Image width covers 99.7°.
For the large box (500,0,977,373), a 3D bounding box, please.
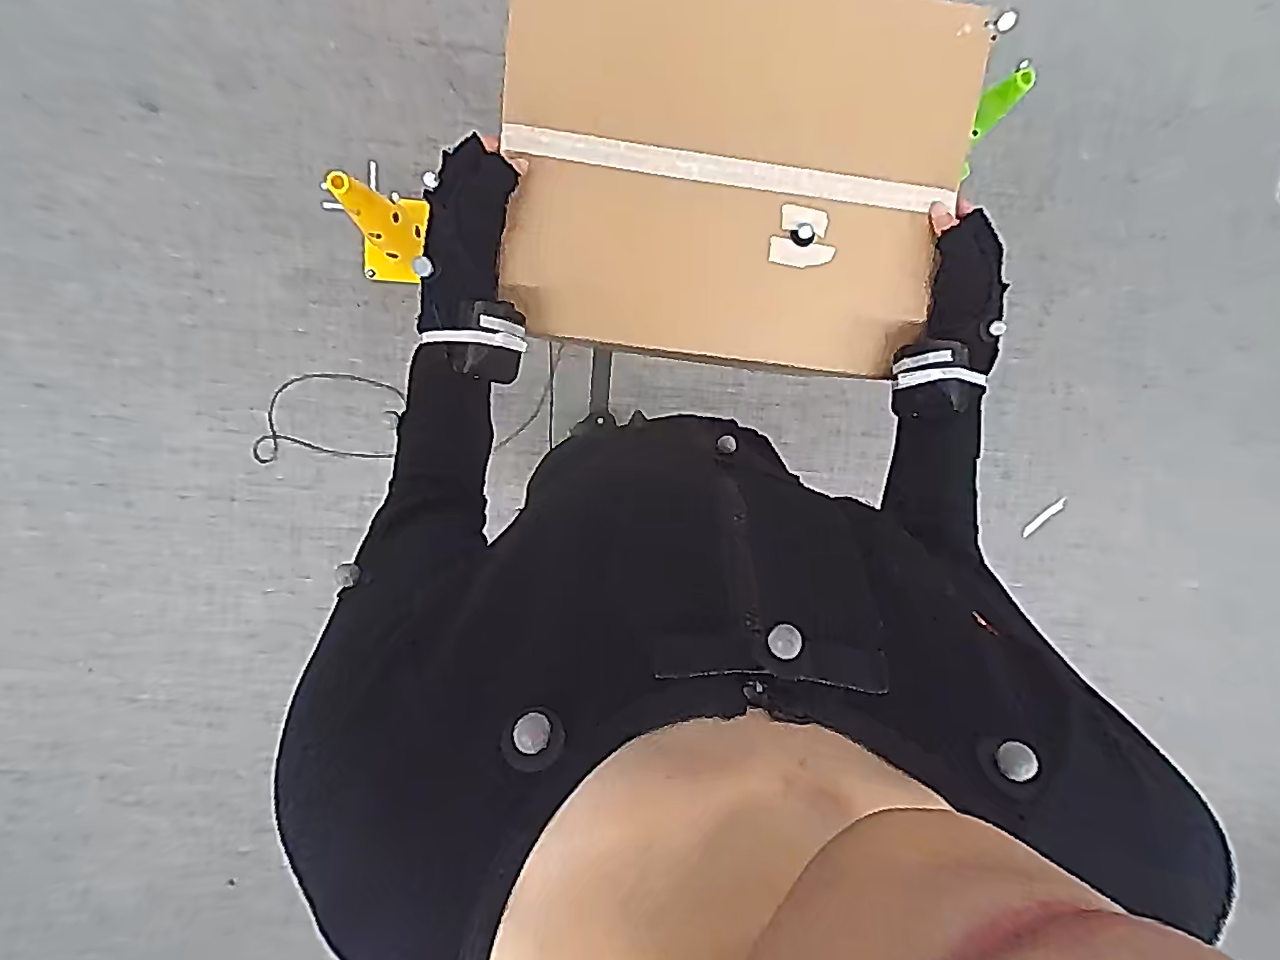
[{"bbox_3d":[0.072,-0.301,0.627,0.408,0.320,0.320,6,102,-5],"label":"large box"}]
